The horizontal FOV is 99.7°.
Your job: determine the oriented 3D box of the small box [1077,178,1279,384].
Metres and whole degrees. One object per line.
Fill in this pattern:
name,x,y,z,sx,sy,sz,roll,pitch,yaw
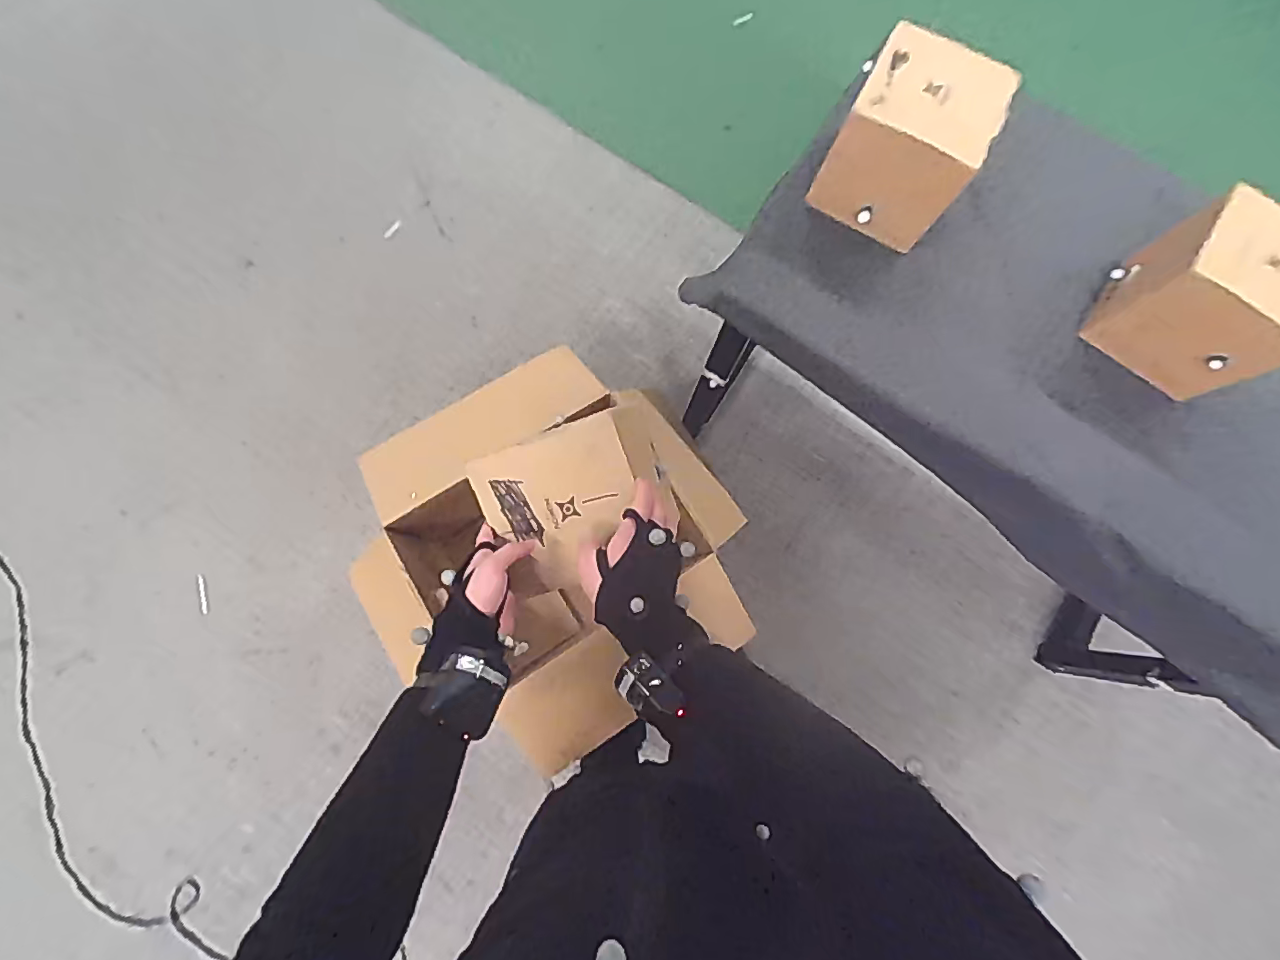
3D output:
small box,0.770,-0.255,0.740,0.179,0.176,0.168,36,77,5

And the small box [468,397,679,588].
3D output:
small box,-0.066,0.006,0.644,0.179,0.176,0.168,-18,98,13

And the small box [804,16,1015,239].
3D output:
small box,0.364,-0.476,0.759,0.179,0.176,0.168,28,77,1
